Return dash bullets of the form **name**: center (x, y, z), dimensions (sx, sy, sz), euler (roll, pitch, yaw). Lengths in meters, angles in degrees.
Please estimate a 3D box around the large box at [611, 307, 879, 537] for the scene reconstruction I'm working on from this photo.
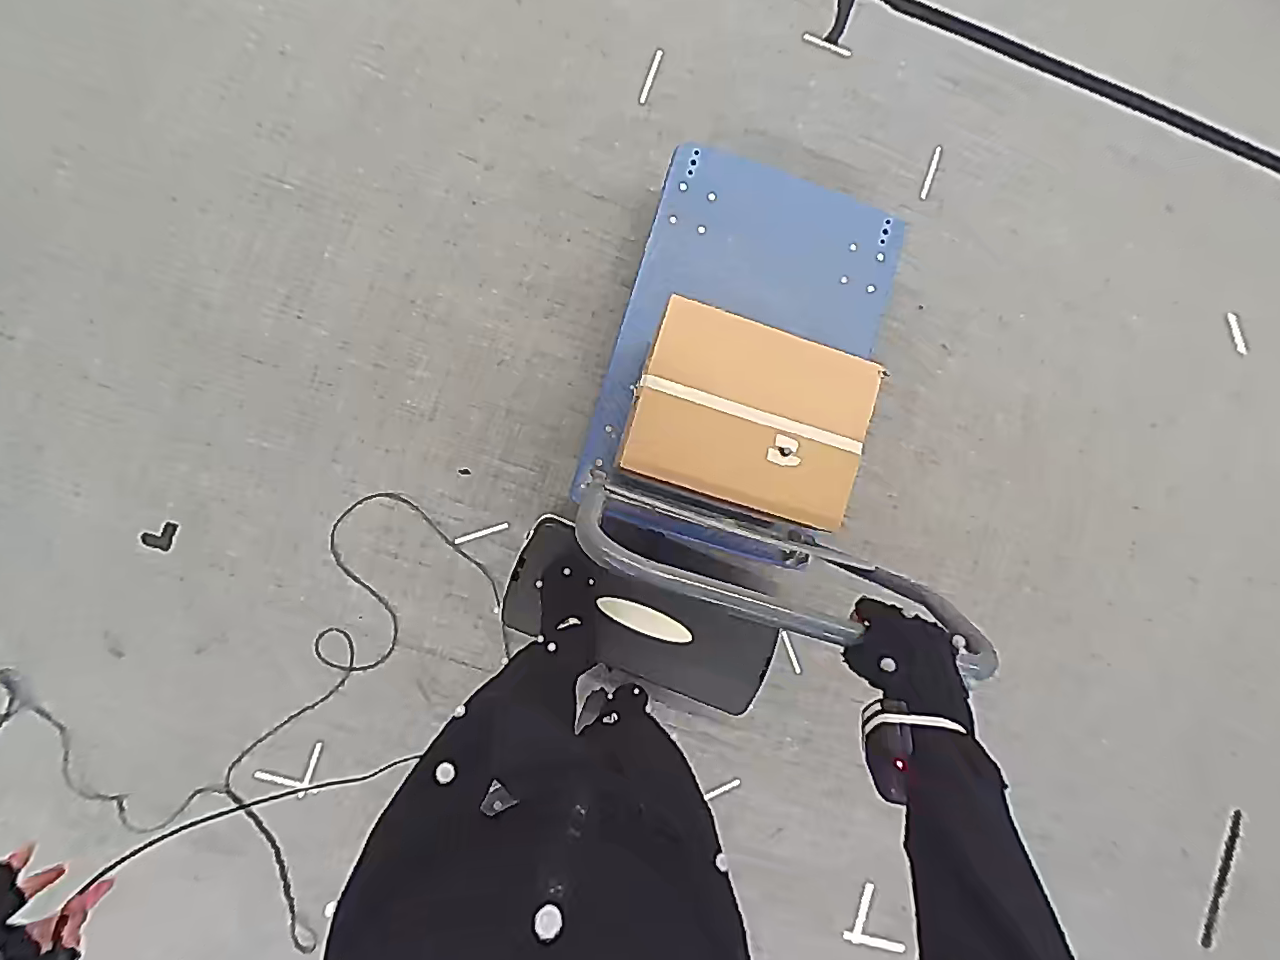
- **large box**: center (0.178, -0.095, 1.080), dimensions (0.408, 0.320, 0.320), euler (17, 88, -5)
